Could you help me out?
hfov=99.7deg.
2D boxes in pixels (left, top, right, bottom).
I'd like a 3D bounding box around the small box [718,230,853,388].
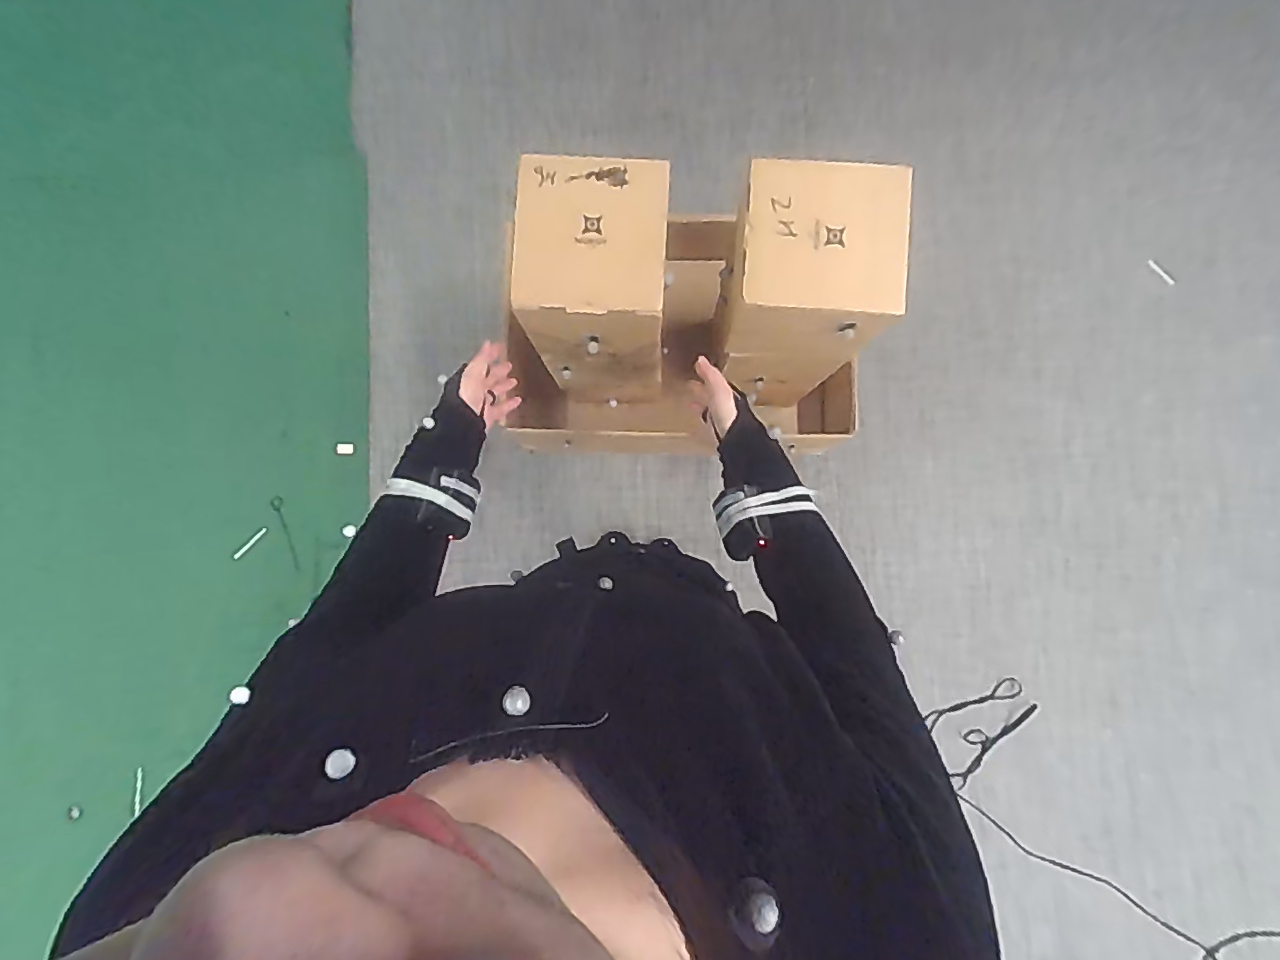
[{"bbox_3d":[0.210,-0.250,0.821,0.168,0.176,0.179,4,87,3],"label":"small box"}]
